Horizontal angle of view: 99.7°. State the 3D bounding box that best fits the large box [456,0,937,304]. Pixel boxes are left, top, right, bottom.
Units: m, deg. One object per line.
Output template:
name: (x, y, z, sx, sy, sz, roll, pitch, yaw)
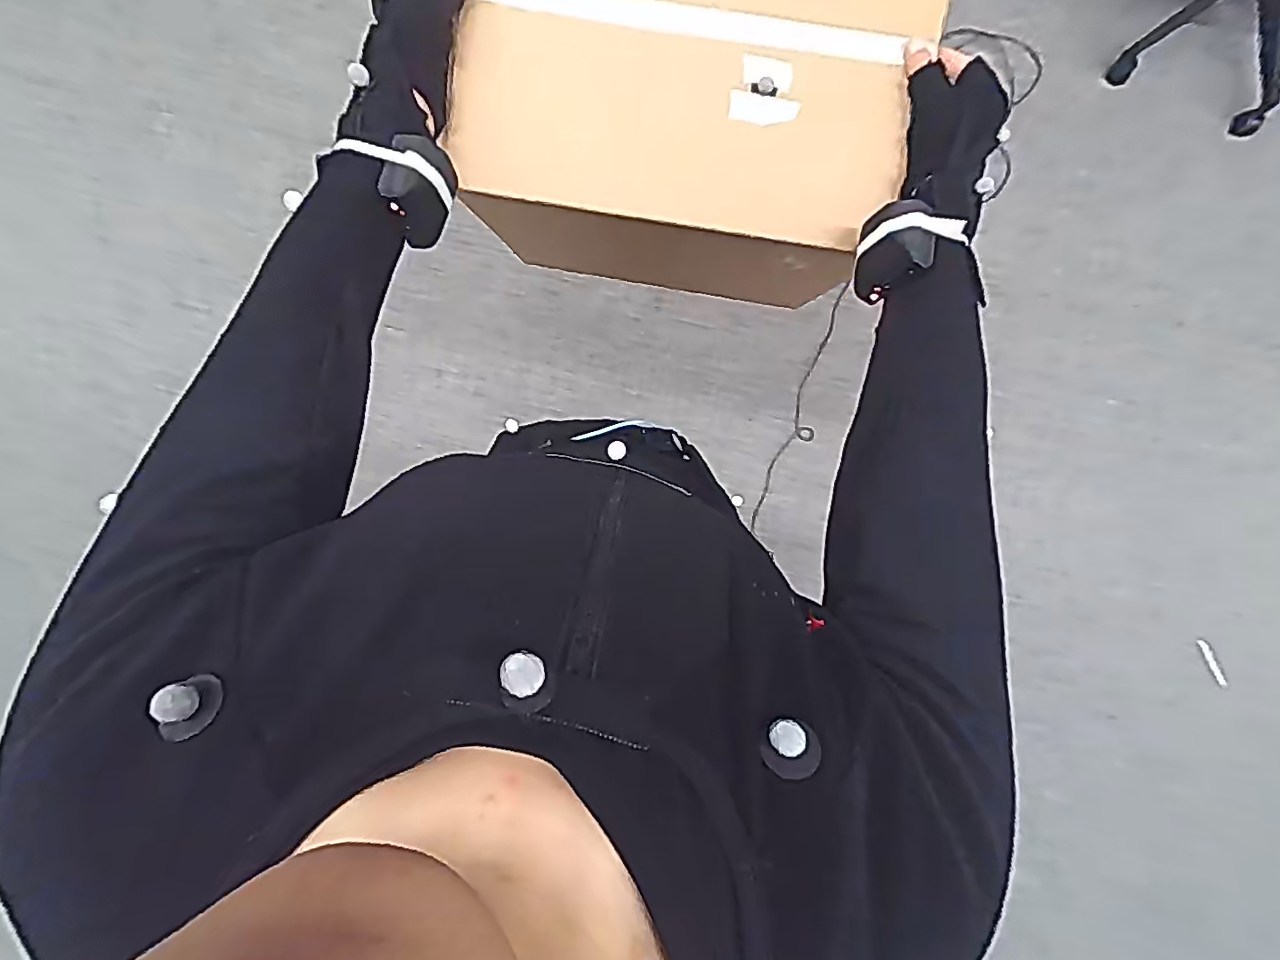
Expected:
large box: (0.049, -0.406, 0.614, 0.408, 0.320, 0.320, 9, 100, -1)
